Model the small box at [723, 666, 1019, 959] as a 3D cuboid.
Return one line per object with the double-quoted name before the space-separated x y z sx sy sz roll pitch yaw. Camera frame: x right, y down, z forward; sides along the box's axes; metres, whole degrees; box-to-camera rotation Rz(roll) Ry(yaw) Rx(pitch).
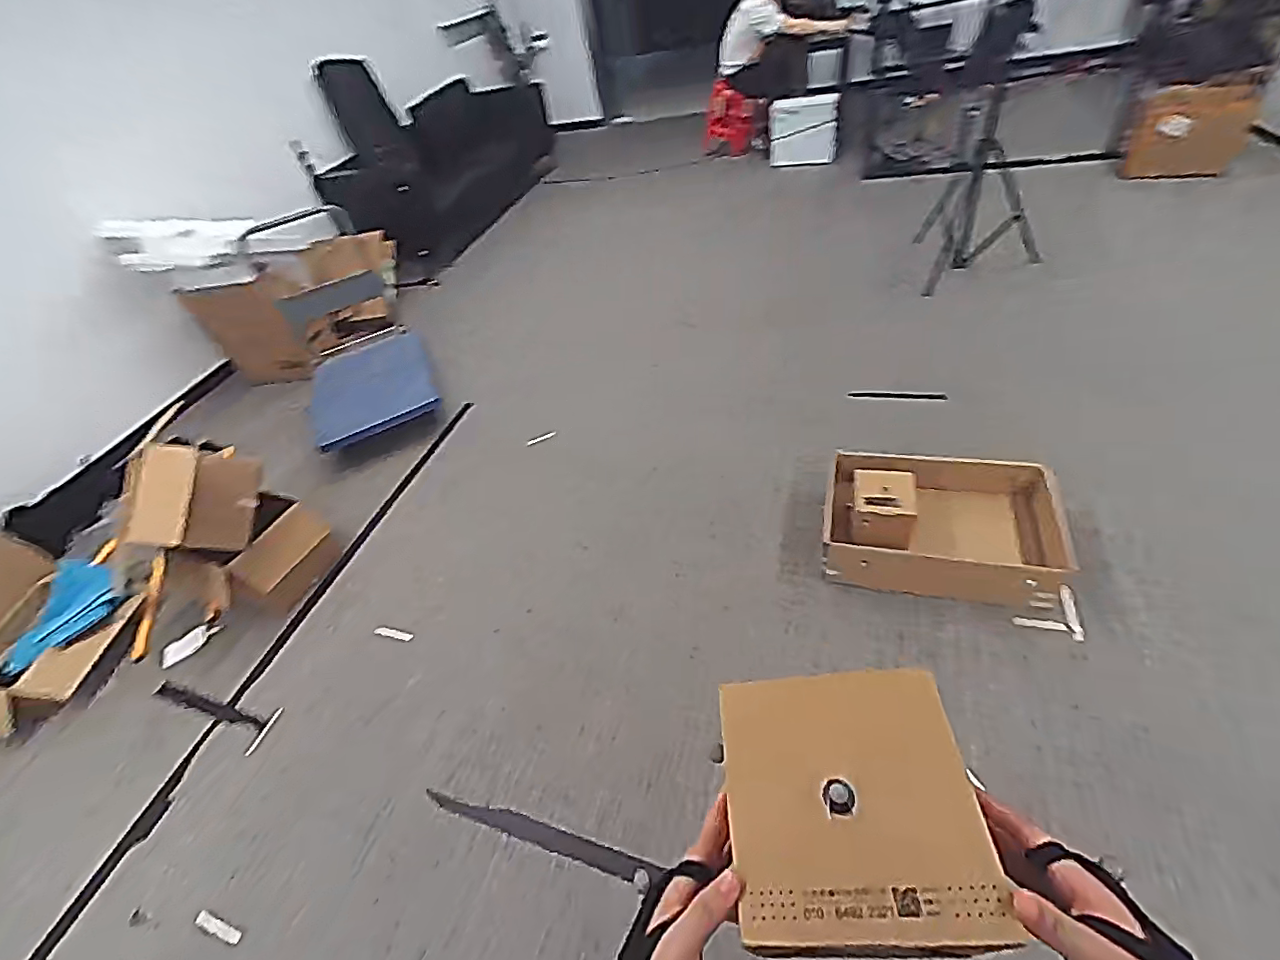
"small box" 0.166 0.271 0.434 0.168 0.179 0.176 -8 46 12
